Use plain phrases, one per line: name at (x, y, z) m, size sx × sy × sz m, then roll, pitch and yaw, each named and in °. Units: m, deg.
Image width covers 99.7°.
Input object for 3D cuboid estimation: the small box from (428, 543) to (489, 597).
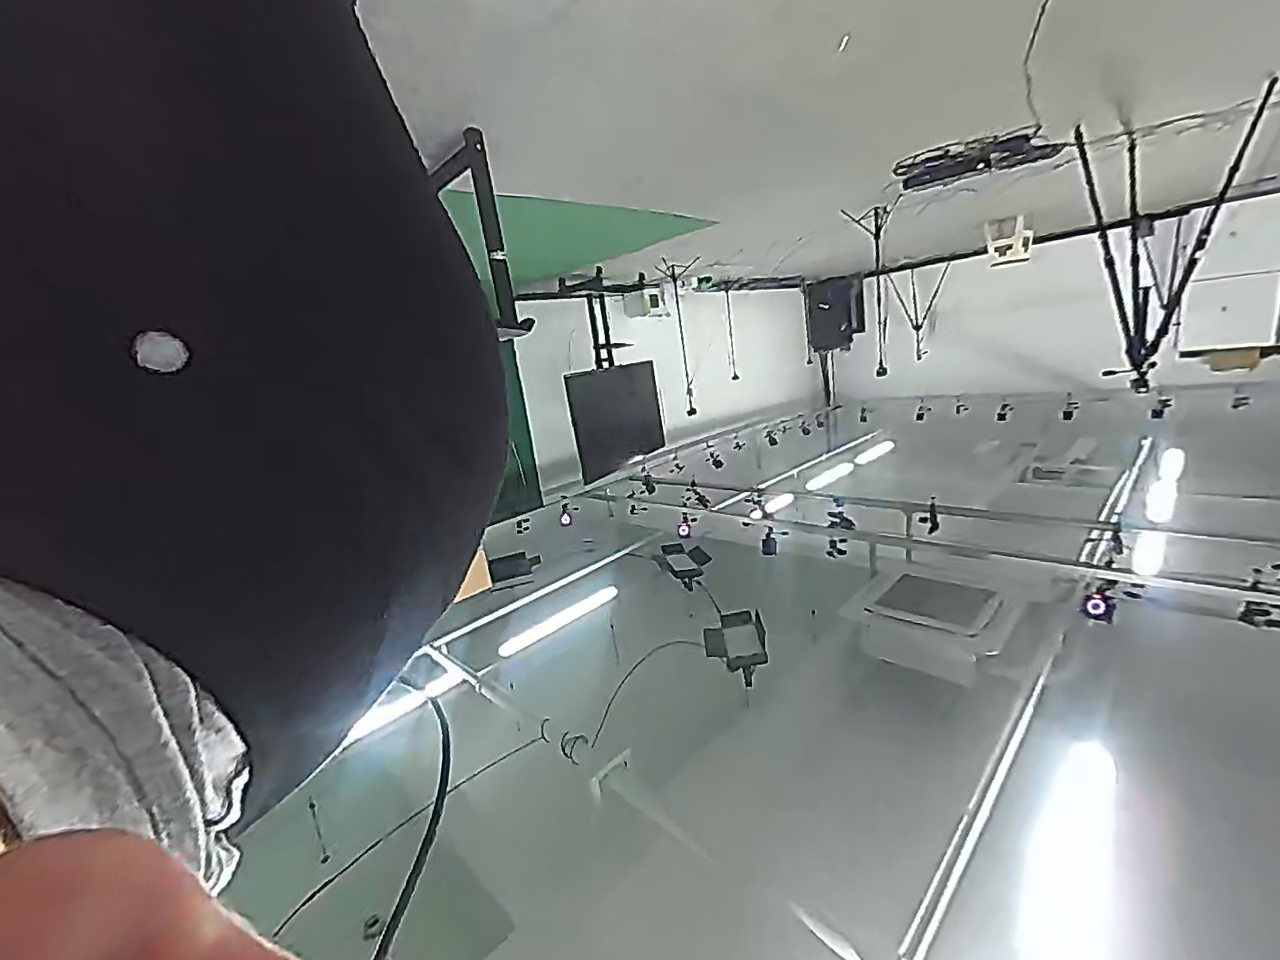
small box at (-0.733, 0.343, 2.174) m, size 0.168 × 0.176 × 0.179 m, roll -21°, pitch -162°, yaw -37°
